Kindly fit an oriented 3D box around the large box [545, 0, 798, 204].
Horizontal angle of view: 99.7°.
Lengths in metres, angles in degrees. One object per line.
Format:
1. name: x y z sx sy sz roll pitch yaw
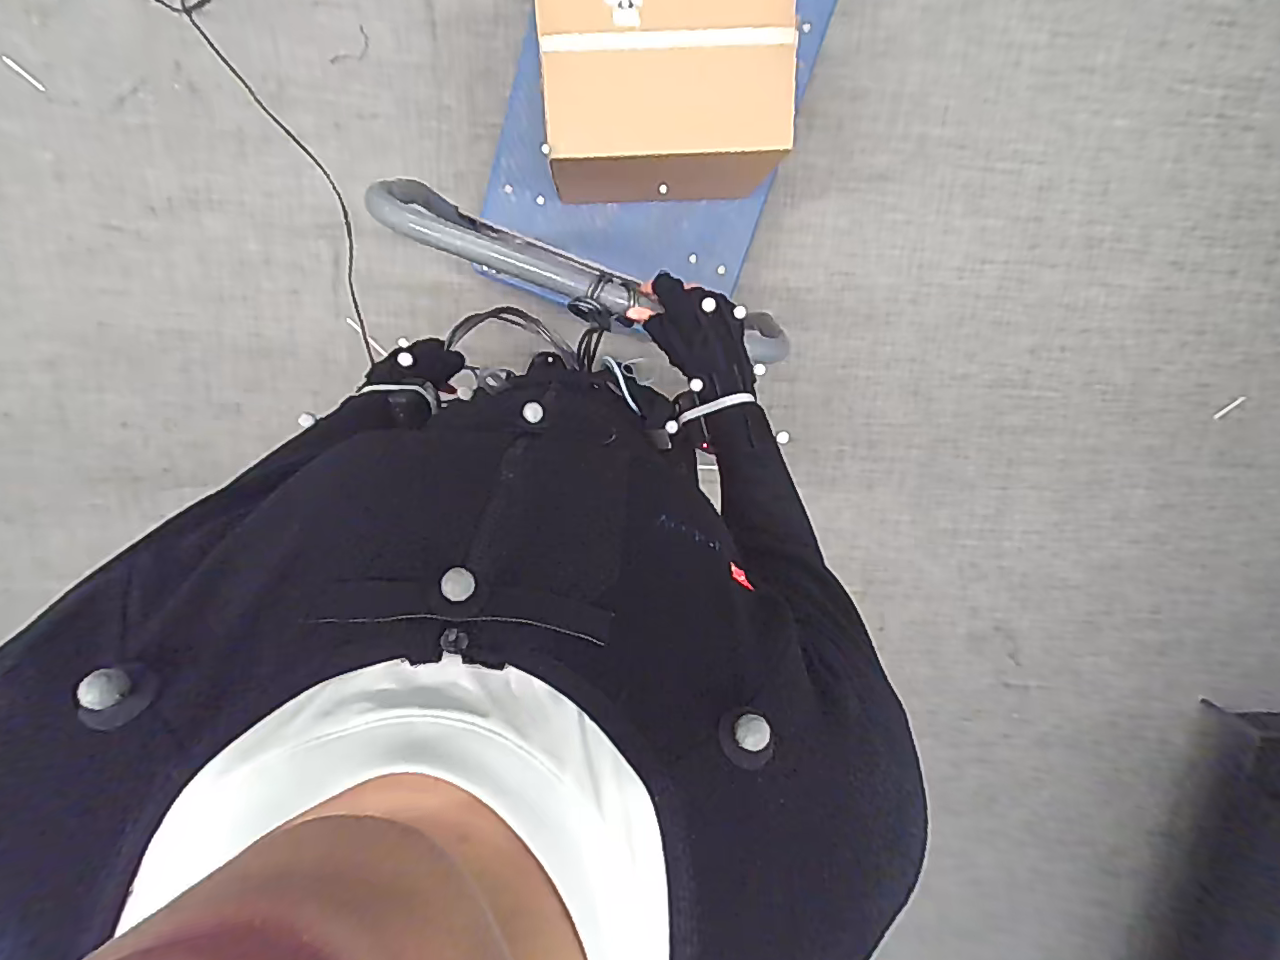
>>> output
1. large box: 0.049 -0.721 1.002 0.408 0.320 0.320 -4 104 -2
